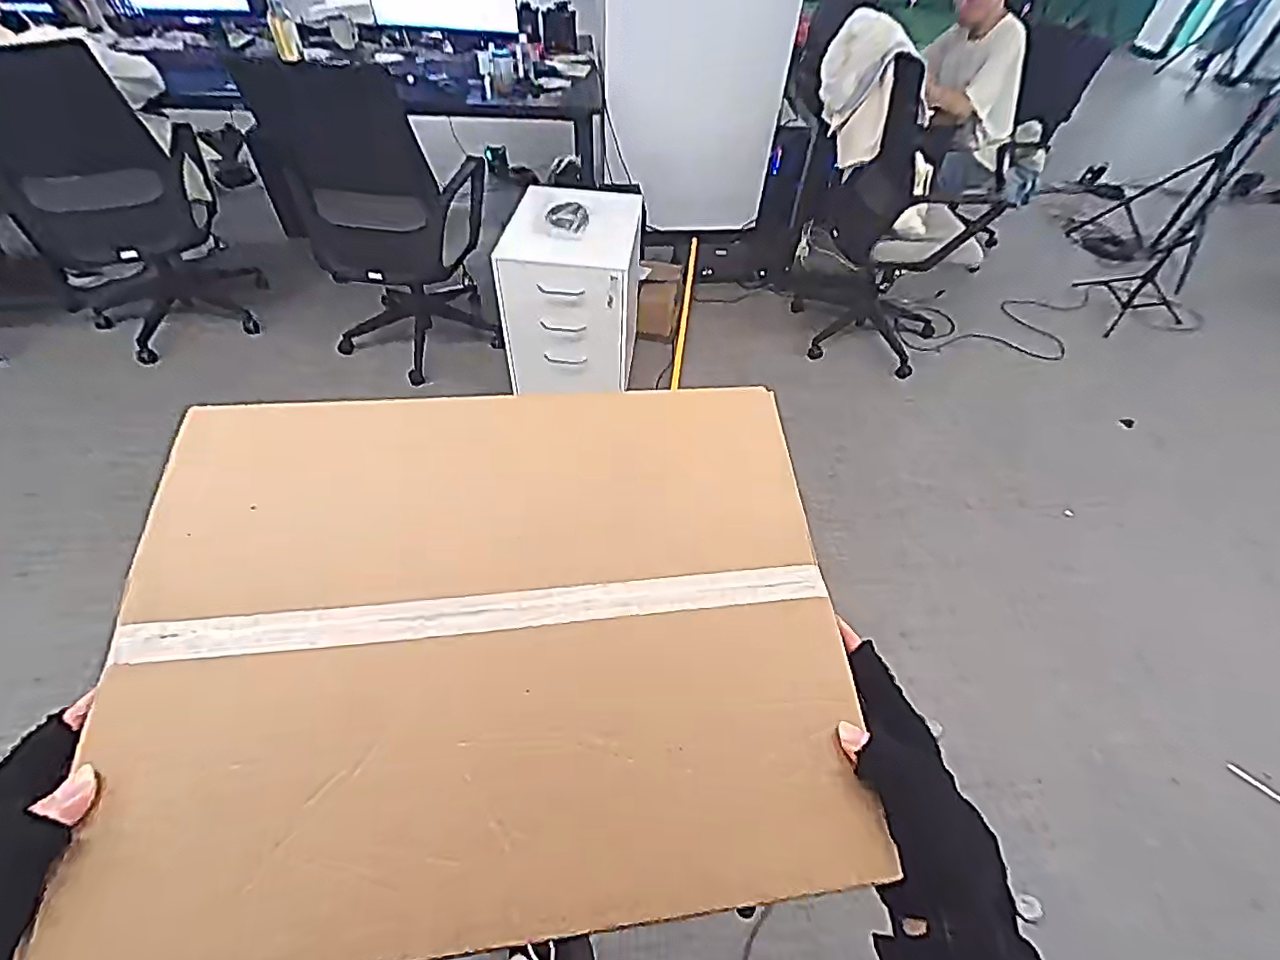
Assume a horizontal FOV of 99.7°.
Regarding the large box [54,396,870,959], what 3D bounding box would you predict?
[{"bbox_3d":[-0.099,0.151,0.462,0.408,0.320,0.320,-4,63,-7],"label":"large box"}]
